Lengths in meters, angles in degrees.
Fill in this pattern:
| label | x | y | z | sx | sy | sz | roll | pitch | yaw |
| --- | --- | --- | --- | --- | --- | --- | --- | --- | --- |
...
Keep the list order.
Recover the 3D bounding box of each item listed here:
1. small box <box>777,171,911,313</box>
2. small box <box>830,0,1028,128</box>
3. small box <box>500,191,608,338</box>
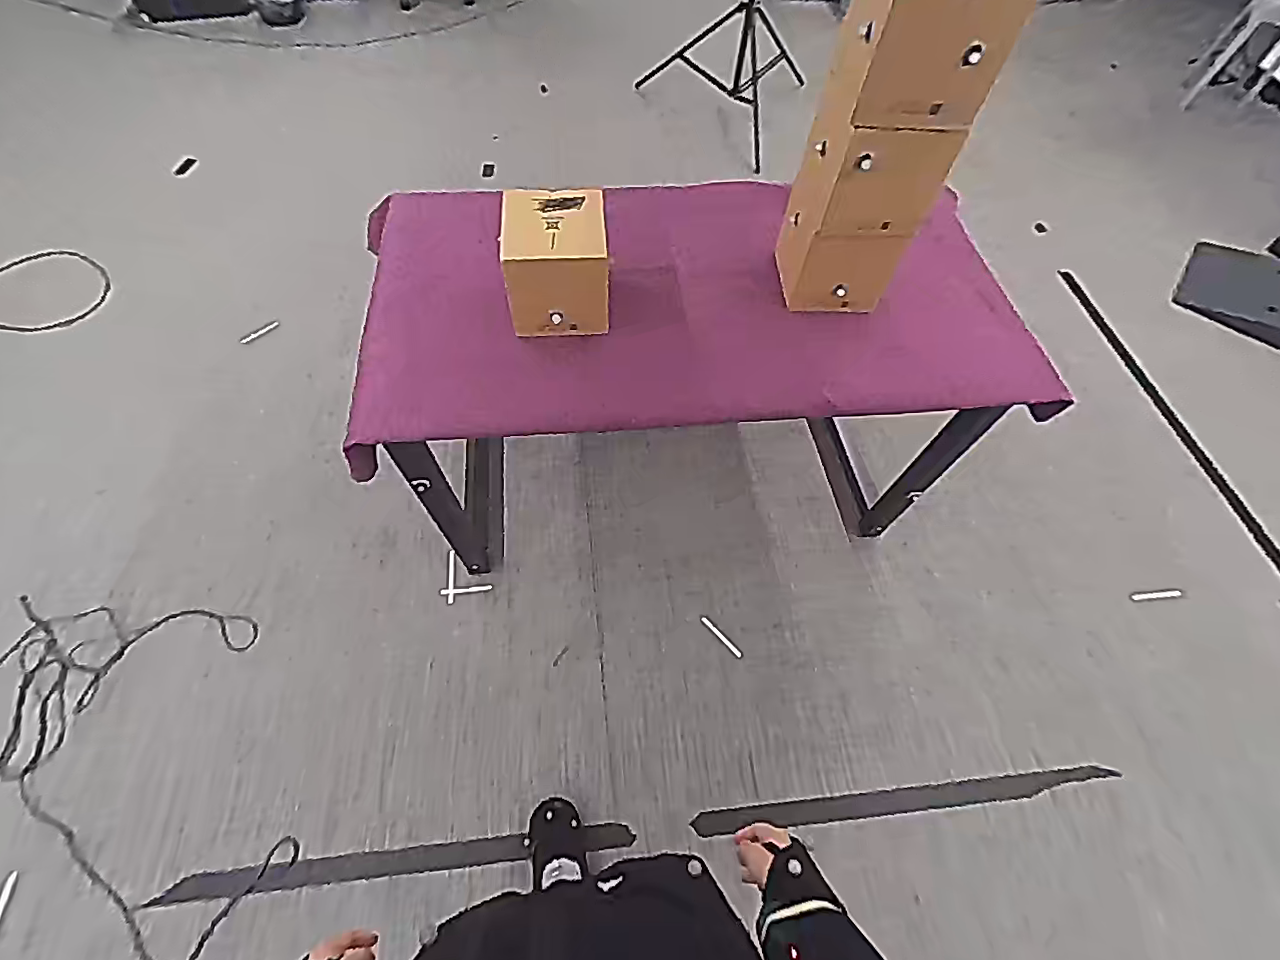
| label | x | y | z | sx | sy | sz | roll | pitch | yaw |
| --- | --- | --- | --- | --- | --- | --- | --- | --- | --- |
| small box | 0.358 | -0.433 | 0.991 | 0.168 | 0.176 | 0.179 | 0 | 61 | -2 |
| small box | 0.366 | -0.588 | 0.703 | 0.168 | 0.176 | 0.179 | 2 | 59 | -2 |
| small box | -0.142 | -0.368 | 0.934 | 0.168 | 0.176 | 0.179 | -3 | 61 | -4 |
